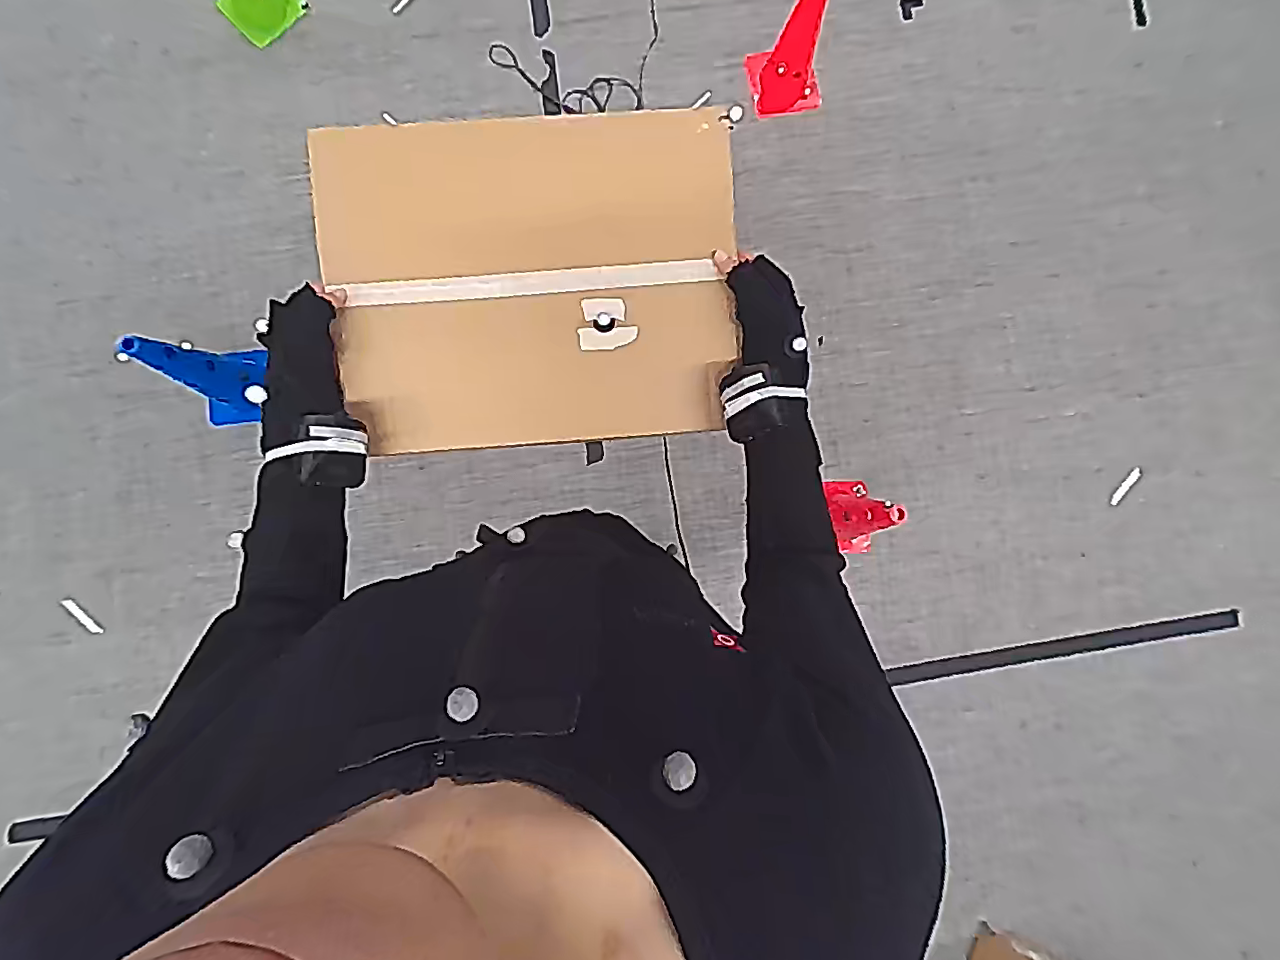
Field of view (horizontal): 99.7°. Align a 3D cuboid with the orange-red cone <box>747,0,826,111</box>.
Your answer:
[{"bbox_3d":[0.433,-1.211,1.434,0.198,0.360,0.199,-11,85,-4],"label":"orange-red cone"}]

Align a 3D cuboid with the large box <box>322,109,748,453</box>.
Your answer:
[{"bbox_3d":[-0.107,-0.208,0.687,0.408,0.320,0.320,-5,95,-2],"label":"large box"}]

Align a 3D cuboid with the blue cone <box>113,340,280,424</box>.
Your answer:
[{"bbox_3d":[-1.084,-0.267,1.322,0.192,0.380,0.193,-5,86,-1],"label":"blue cone"}]

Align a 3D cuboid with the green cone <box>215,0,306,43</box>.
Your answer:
[{"bbox_3d":[-1.093,-1.397,1.390,0.200,0.368,0.202,44,87,2],"label":"green cone"}]
